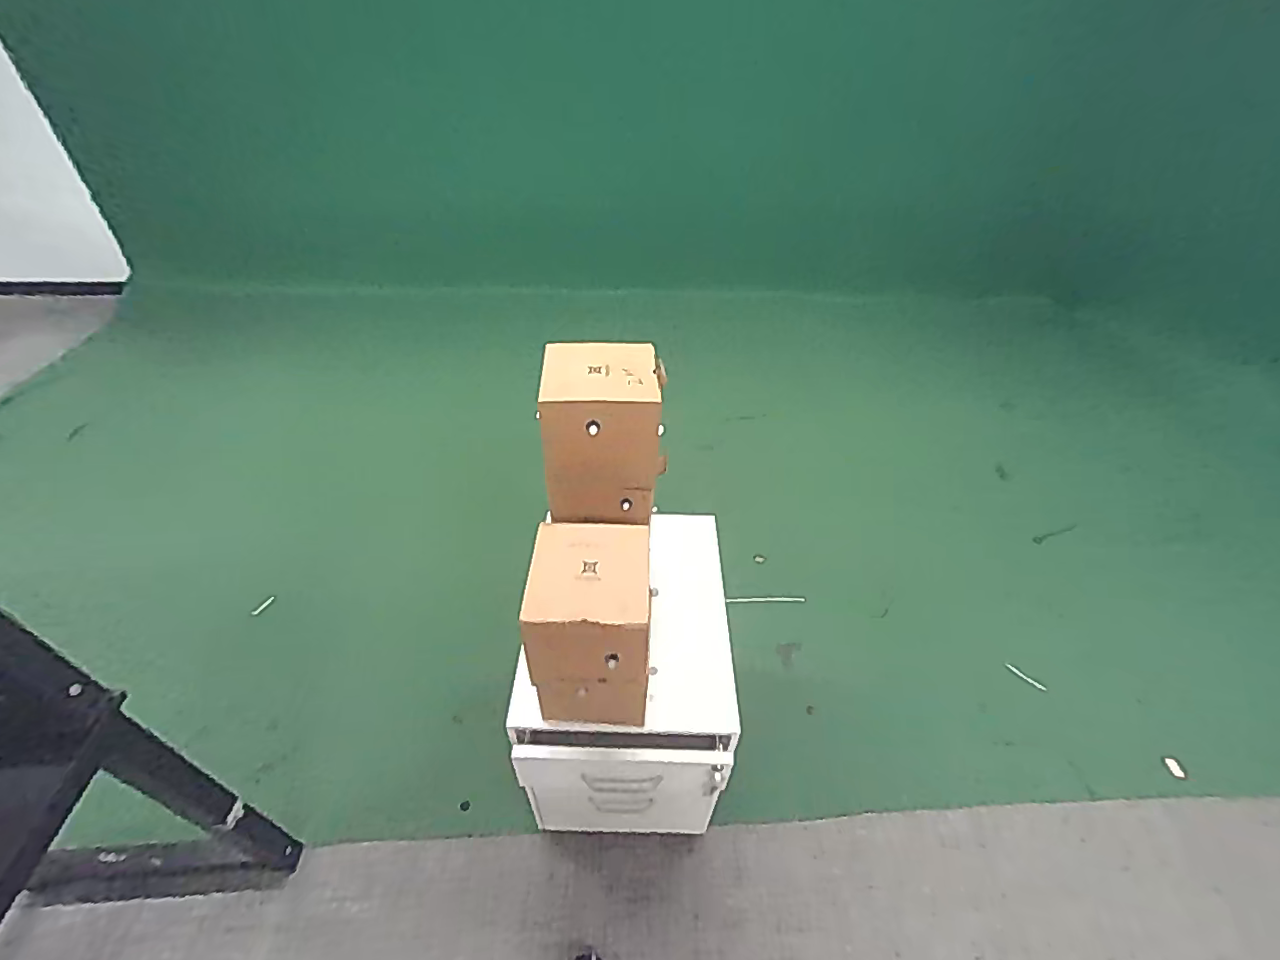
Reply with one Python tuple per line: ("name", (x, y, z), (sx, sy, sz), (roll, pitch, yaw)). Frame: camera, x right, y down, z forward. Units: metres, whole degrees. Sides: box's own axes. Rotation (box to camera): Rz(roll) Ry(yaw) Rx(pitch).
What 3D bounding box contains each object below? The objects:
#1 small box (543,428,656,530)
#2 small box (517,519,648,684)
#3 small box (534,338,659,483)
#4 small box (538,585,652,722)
("small box", (-0.067, 0.009, 0.970), (0.179, 0.176, 0.168), (5, 42, 1))
("small box", (-0.074, 0.177, 0.783), (0.168, 0.176, 0.179), (2, 41, -2))
("small box", (-0.066, -0.108, 0.855), (0.179, 0.176, 0.168), (0, 43, -4))
("small box", (-0.073, 0.286, 0.905), (0.179, 0.176, 0.168), (4, 42, 1))
